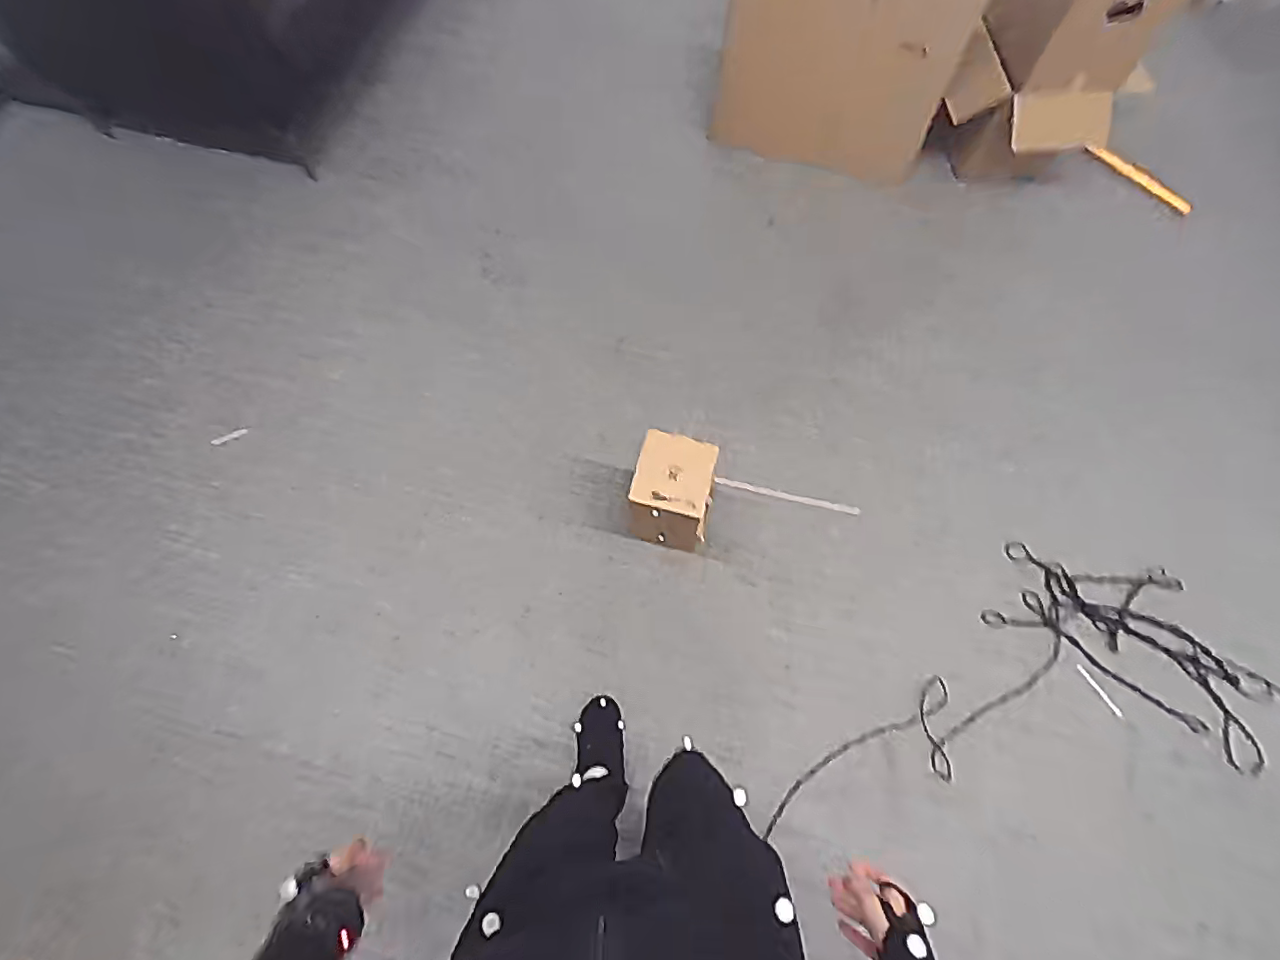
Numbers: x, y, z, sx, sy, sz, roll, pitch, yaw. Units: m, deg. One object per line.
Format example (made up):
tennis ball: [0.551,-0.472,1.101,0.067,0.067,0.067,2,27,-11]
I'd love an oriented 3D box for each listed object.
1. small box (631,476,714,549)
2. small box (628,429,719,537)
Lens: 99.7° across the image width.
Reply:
small box: [0.081,0.069,1.397,0.179,0.176,0.168,13,69,6]
small box: [0.073,0.011,1.244,0.168,0.176,0.179,14,69,6]
